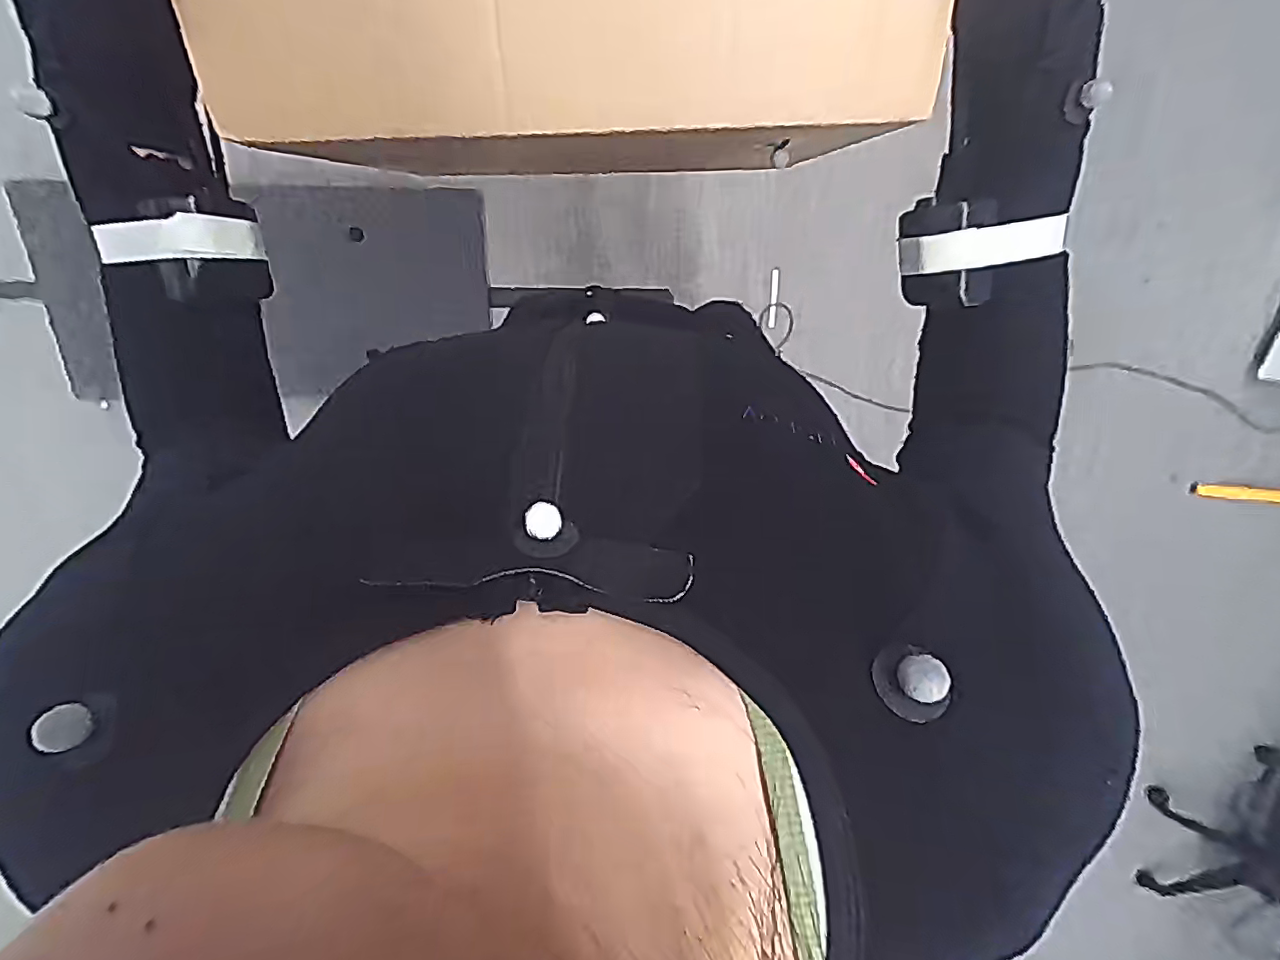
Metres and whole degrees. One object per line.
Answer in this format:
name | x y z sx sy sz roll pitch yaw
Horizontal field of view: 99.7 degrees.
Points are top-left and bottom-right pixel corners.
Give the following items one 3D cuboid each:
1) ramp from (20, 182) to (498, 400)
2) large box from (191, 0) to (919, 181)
ramp | -0.878 -0.454 1.333 0.991 0.206 0.509 -1 108 3
large box | -0.048 -0.406 0.389 0.408 0.320 0.320 -2 115 1
